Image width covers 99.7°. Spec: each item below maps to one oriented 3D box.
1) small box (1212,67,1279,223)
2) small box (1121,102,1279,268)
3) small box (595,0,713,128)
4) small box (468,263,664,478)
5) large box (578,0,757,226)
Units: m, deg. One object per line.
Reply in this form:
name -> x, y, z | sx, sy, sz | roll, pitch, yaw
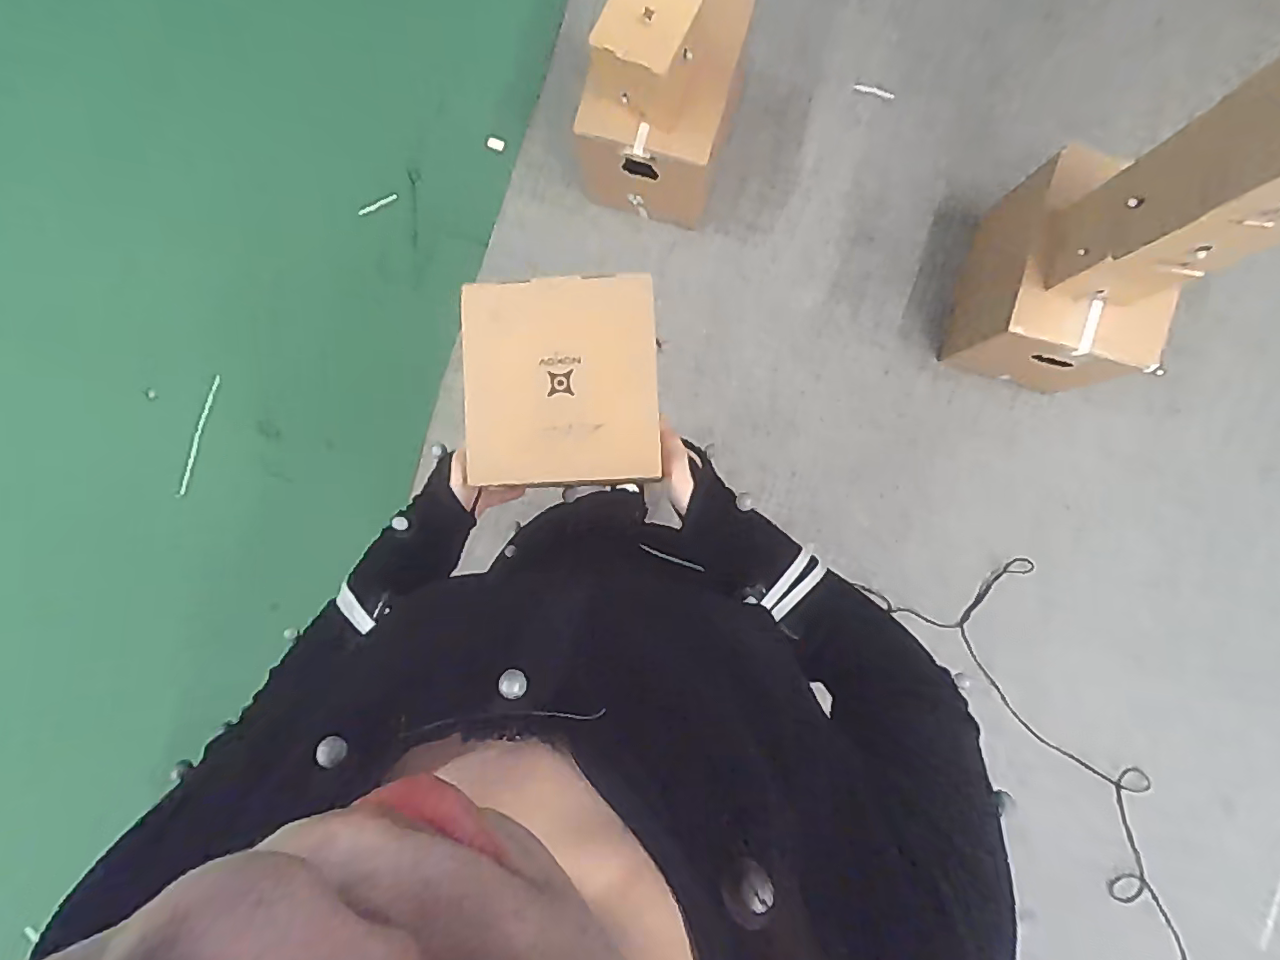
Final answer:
small box -> 0.917, -0.462, 0.705 | 0.168, 0.176, 0.179 | 8, 91, 6
small box -> 0.932, -0.461, 0.870 | 0.168, 0.176, 0.179 | 9, 92, 5
small box -> 0.031, -0.868, 1.089 | 0.168, 0.176, 0.179 | 28, 93, 5
small box -> -0.061, -0.093, 0.536 | 0.168, 0.176, 0.179 | -2, 89, 3
large box -> 0.071, -0.916, 1.331 | 0.320, 0.320, 0.408 | 17, 91, 4
